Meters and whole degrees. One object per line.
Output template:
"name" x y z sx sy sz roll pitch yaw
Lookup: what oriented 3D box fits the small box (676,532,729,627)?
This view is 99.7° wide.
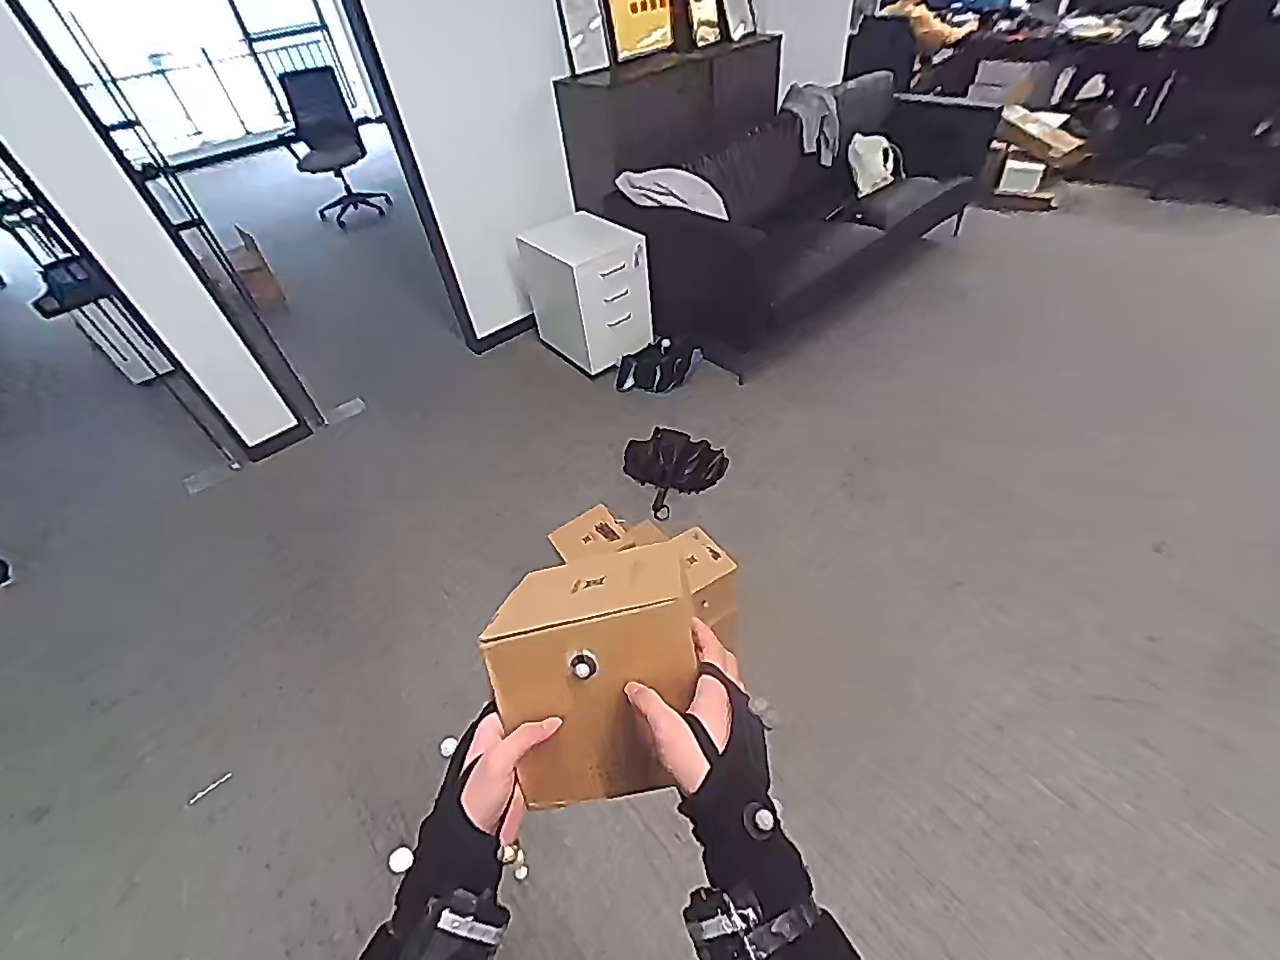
"small box" 0.108 0.270 1.365 0.179 0.176 0.168 -26 47 -22

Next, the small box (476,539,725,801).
"small box" -0.028 0.171 0.514 0.179 0.176 0.168 -12 8 3

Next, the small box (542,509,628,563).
"small box" -0.137 0.217 1.446 0.179 0.176 0.168 -29 48 -18
